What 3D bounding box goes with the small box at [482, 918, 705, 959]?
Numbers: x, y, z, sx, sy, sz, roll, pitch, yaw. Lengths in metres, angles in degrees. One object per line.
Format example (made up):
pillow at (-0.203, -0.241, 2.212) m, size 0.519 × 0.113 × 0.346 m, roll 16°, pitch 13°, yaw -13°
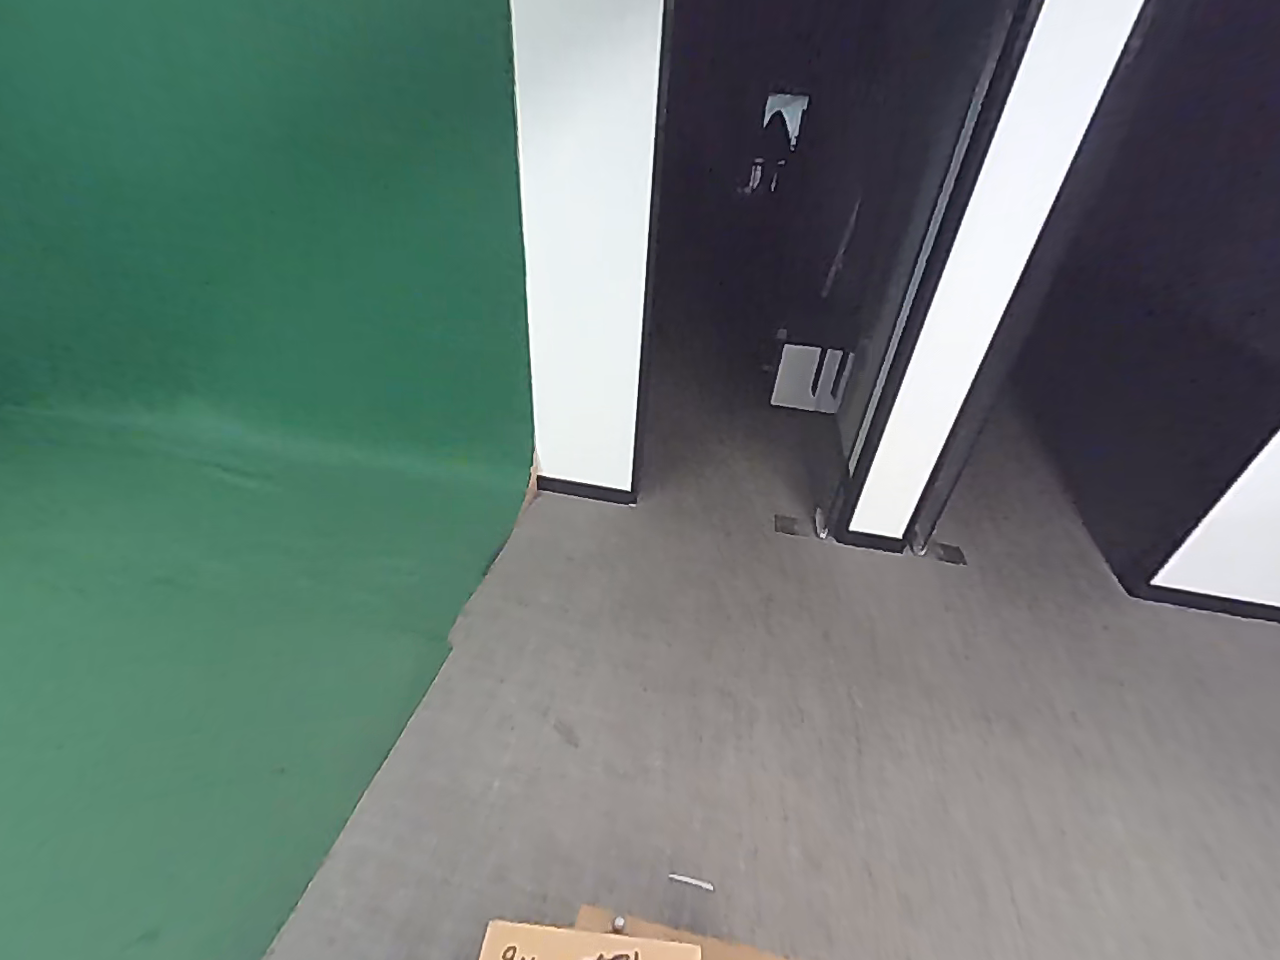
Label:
small box at (-0.042, 0.455, 0.405) m, size 0.168 × 0.176 × 0.179 m, roll 5°, pitch 47°, yaw 2°
